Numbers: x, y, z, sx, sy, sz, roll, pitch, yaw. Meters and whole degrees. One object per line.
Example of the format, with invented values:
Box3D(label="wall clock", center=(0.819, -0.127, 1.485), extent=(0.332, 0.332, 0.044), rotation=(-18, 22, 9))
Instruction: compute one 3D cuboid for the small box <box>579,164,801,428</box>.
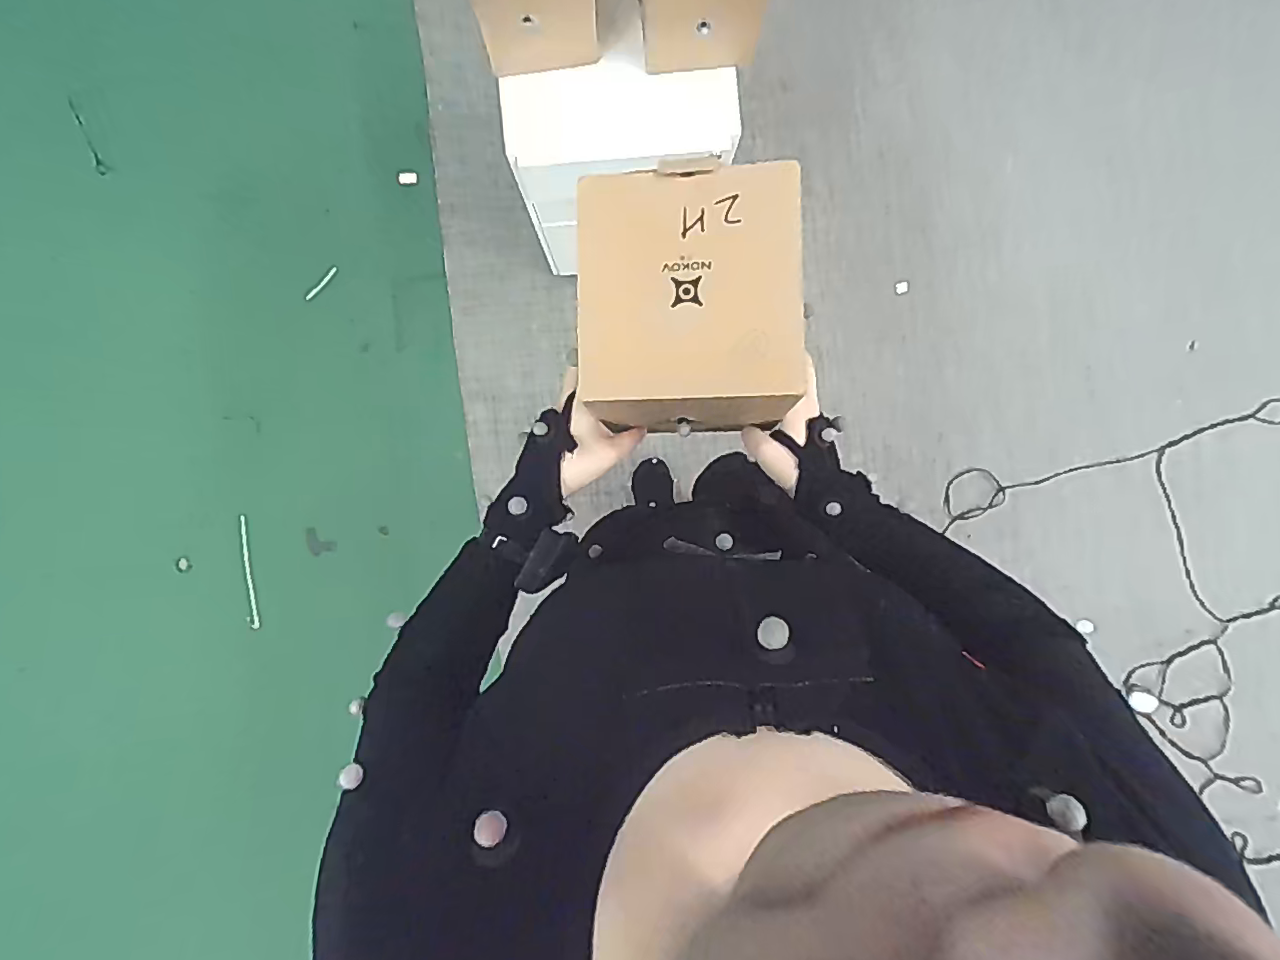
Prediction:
Box3D(label="small box", center=(0.044, -0.141, 0.479), extent=(0.168, 0.176, 0.179), rotation=(0, 86, 5))

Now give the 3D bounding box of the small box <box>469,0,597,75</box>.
Box3D(label="small box", center=(-0.167, -0.752, 0.811), extent=(0.179, 0.176, 0.168), rotation=(-10, 92, -1))
